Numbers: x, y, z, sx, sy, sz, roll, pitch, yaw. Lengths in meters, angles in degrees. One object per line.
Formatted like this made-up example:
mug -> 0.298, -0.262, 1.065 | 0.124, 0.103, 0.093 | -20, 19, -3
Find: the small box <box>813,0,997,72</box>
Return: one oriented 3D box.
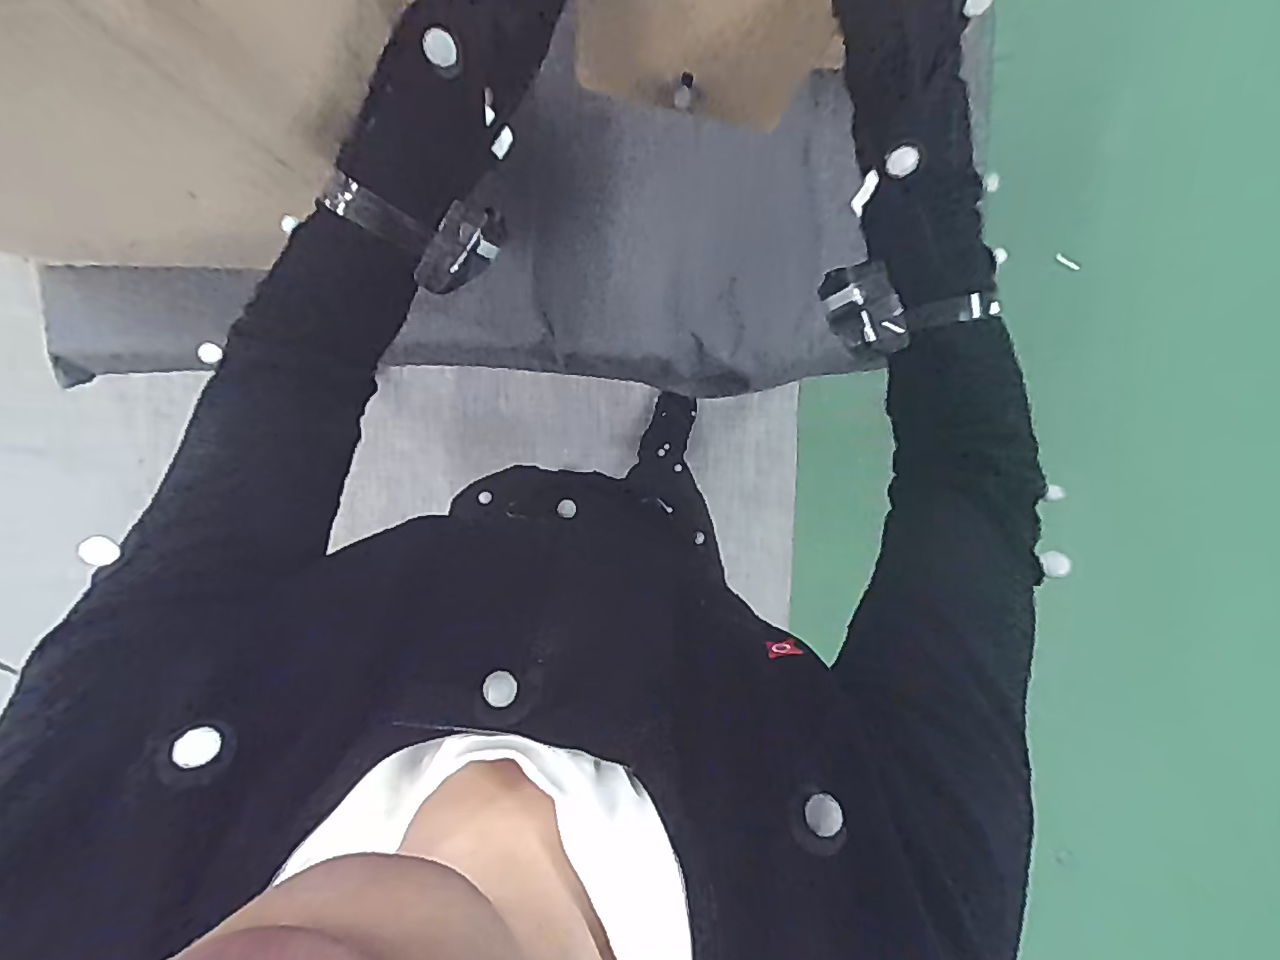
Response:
small box -> 0.299, -0.597, 0.592 | 0.168, 0.176, 0.179 | 2, 96, -1
